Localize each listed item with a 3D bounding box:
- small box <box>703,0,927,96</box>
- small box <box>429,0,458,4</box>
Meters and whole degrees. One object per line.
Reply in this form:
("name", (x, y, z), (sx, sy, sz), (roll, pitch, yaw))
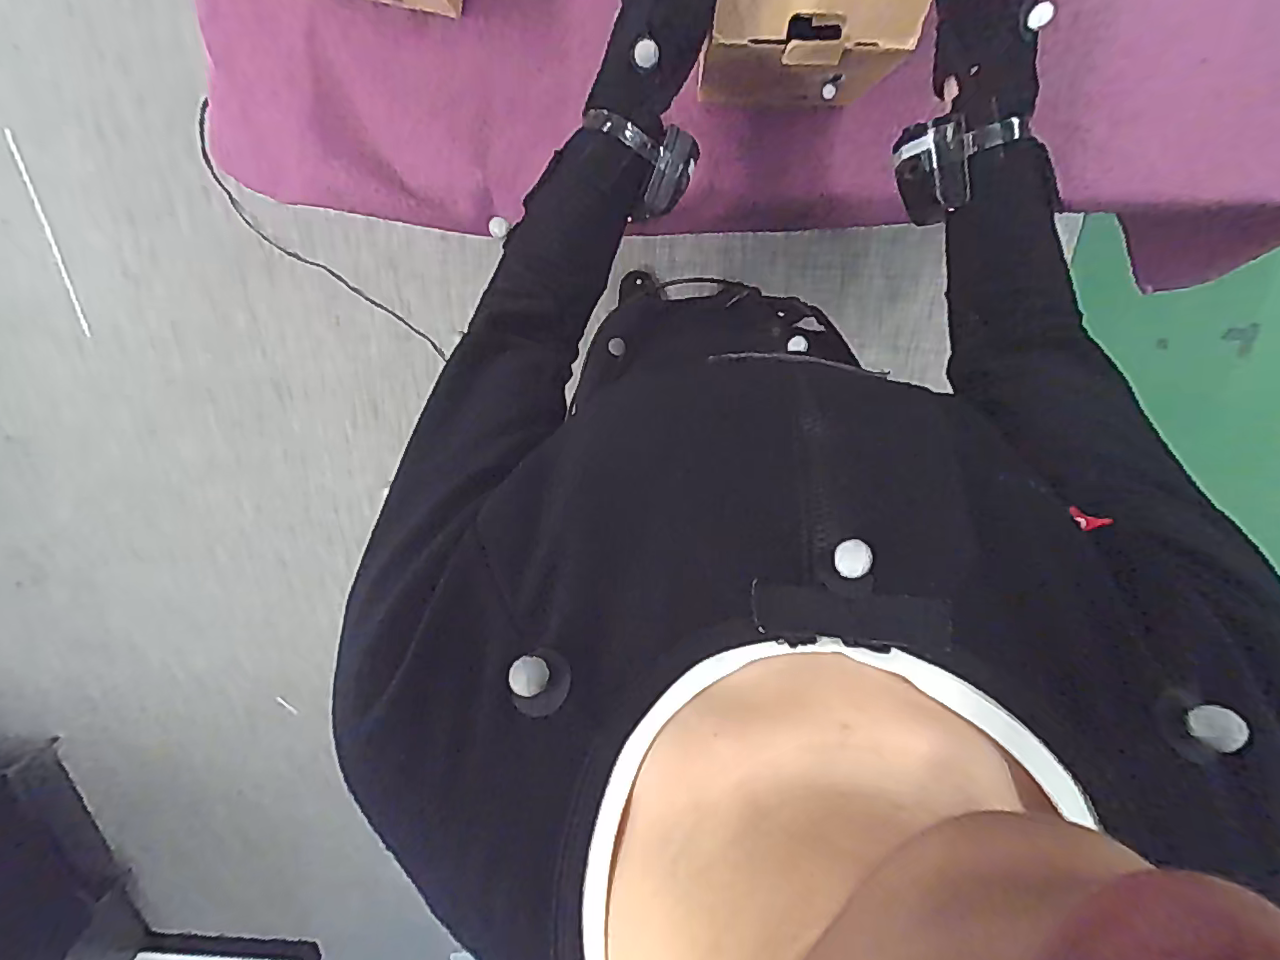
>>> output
("small box", (0.145, -0.453, 0.463), (0.168, 0.176, 0.179), (3, 112, 2))
("small box", (-0.249, -0.545, 0.449), (0.168, 0.176, 0.179), (11, 113, -1))
